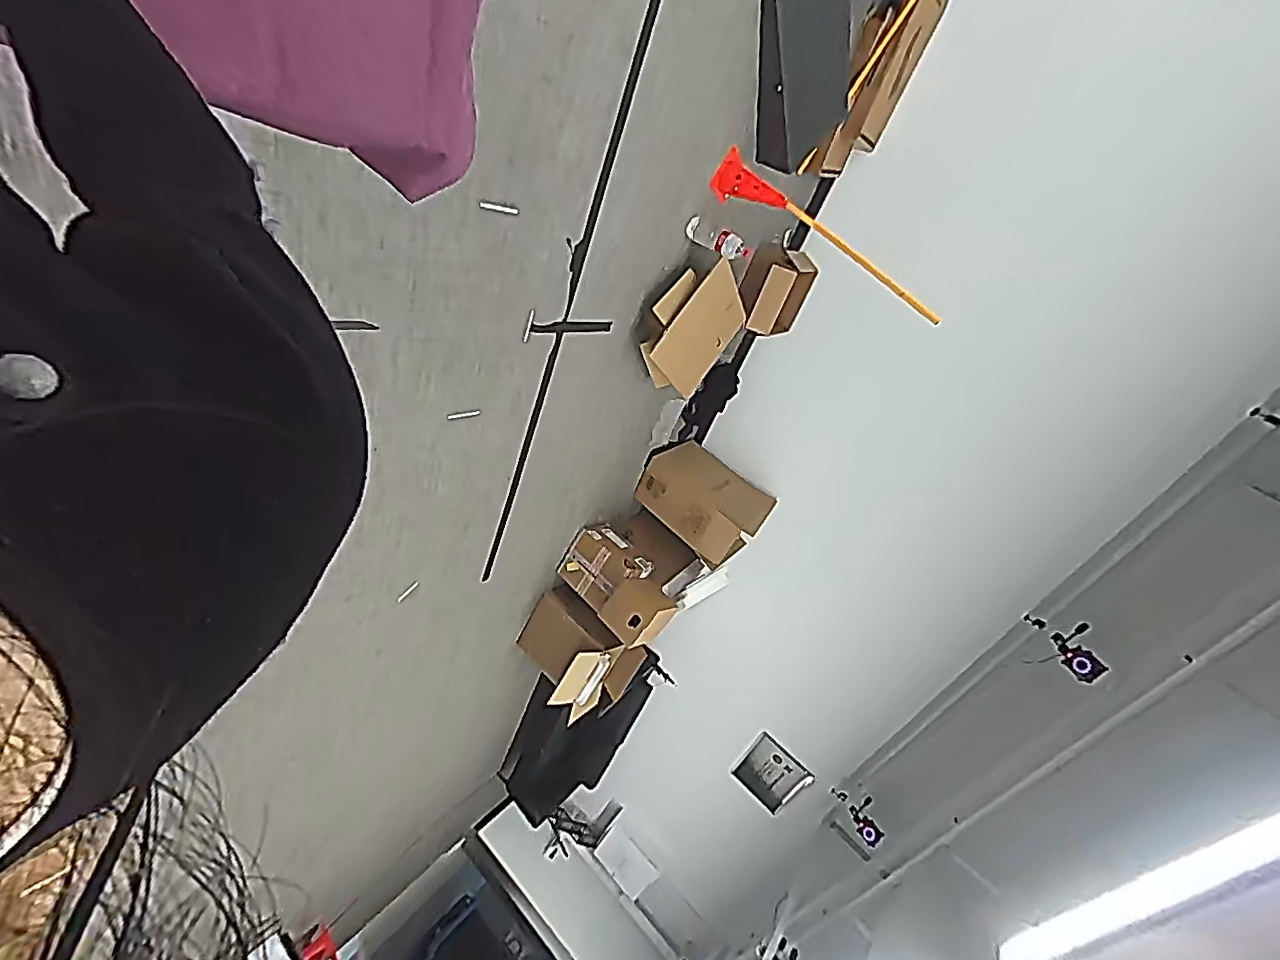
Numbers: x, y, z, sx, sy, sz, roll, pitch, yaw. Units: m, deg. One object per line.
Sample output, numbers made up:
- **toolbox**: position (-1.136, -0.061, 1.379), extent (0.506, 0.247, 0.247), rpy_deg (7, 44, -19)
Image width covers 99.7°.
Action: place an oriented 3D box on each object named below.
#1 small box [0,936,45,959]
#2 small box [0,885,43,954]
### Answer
- **small box**: position (-1.621, 1.316, 1.366), extent (0.168, 0.176, 0.179), rpy_deg (-23, 142, -51)
- **small box**: position (-1.745, 1.232, 1.428), extent (0.179, 0.176, 0.168), rpy_deg (-22, 142, -49)
